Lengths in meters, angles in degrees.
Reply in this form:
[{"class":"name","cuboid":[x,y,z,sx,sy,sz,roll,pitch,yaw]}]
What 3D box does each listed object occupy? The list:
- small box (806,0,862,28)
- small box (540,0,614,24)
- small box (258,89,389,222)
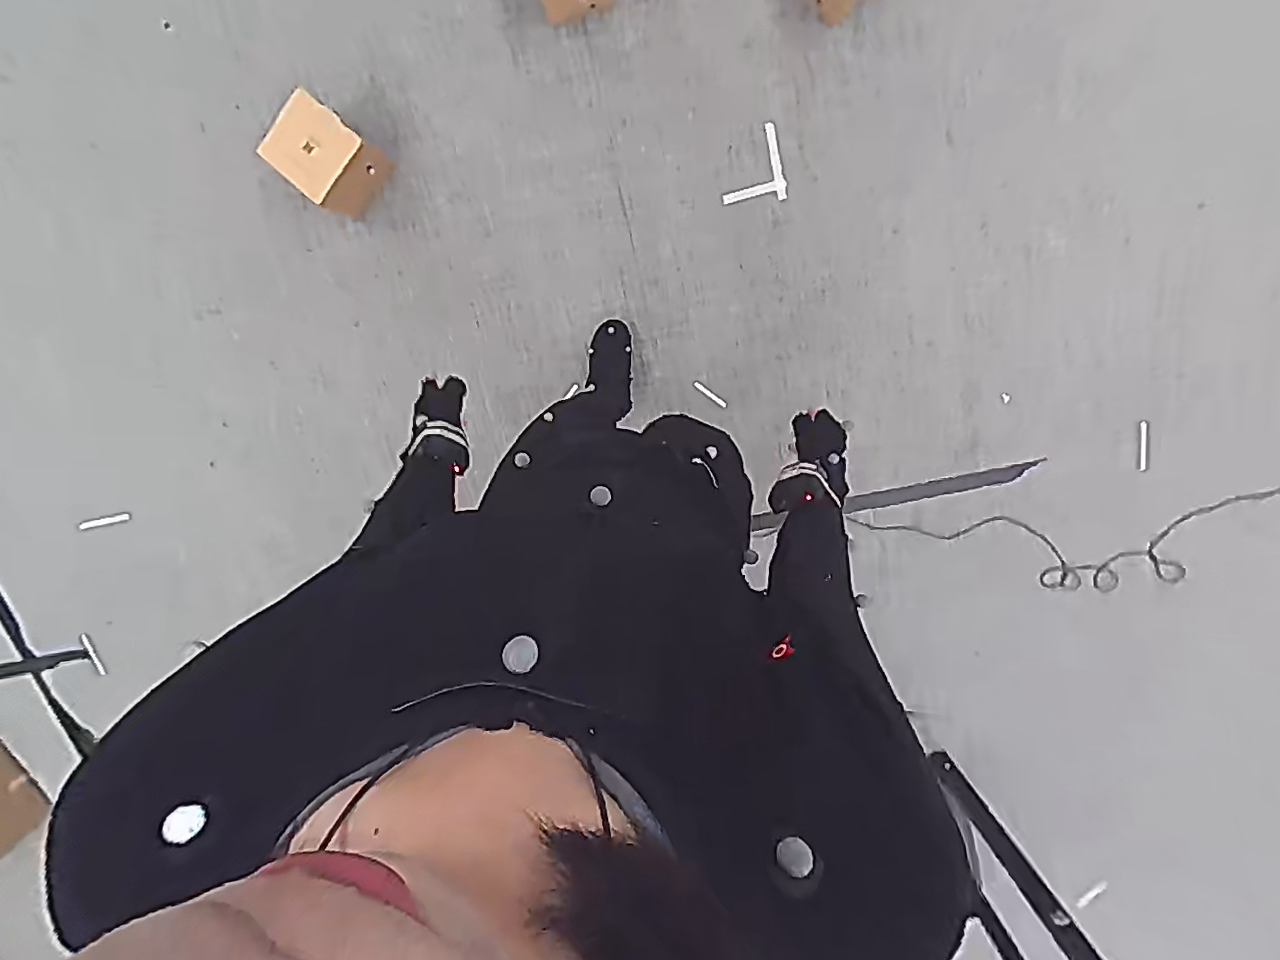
[{"class":"small box","cuboid":[0.450,-1.139,1.153,0.168,0.176,0.179,43,101,-10]},{"class":"small box","cuboid":[-0.156,-1.124,1.150,0.168,0.176,0.179,-19,104,4]},{"class":"small box","cuboid":[-0.711,-0.732,1.242,0.168,0.176,0.179,40,101,-8]}]
